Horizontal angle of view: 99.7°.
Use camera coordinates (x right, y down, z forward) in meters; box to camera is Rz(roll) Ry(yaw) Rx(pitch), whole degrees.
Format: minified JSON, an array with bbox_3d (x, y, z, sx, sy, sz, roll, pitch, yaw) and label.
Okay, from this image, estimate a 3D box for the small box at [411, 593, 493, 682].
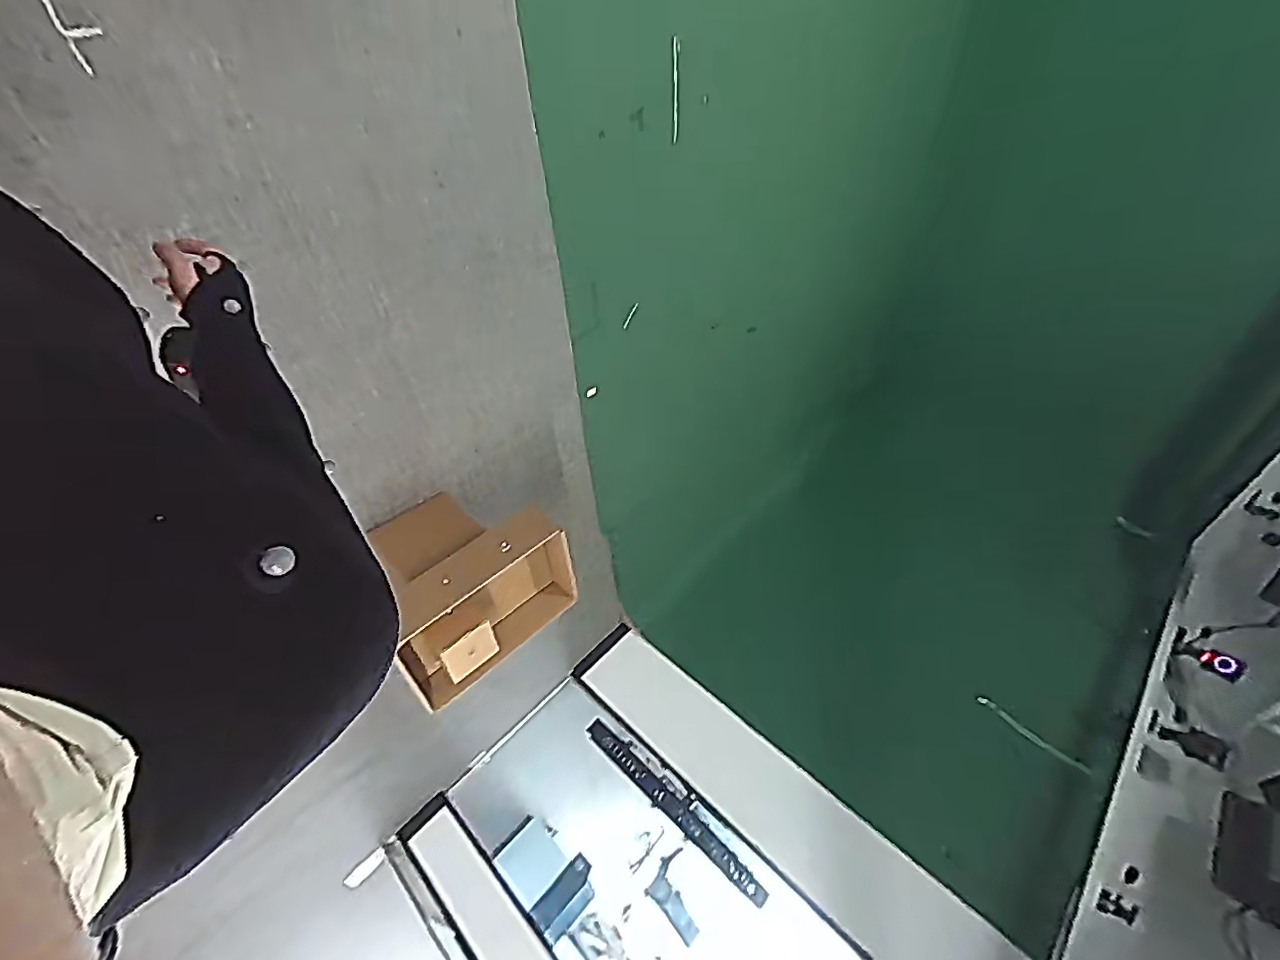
[{"bbox_3d":[-0.596,0.493,1.717,0.168,0.176,0.179,-35,140,-31],"label":"small box"}]
